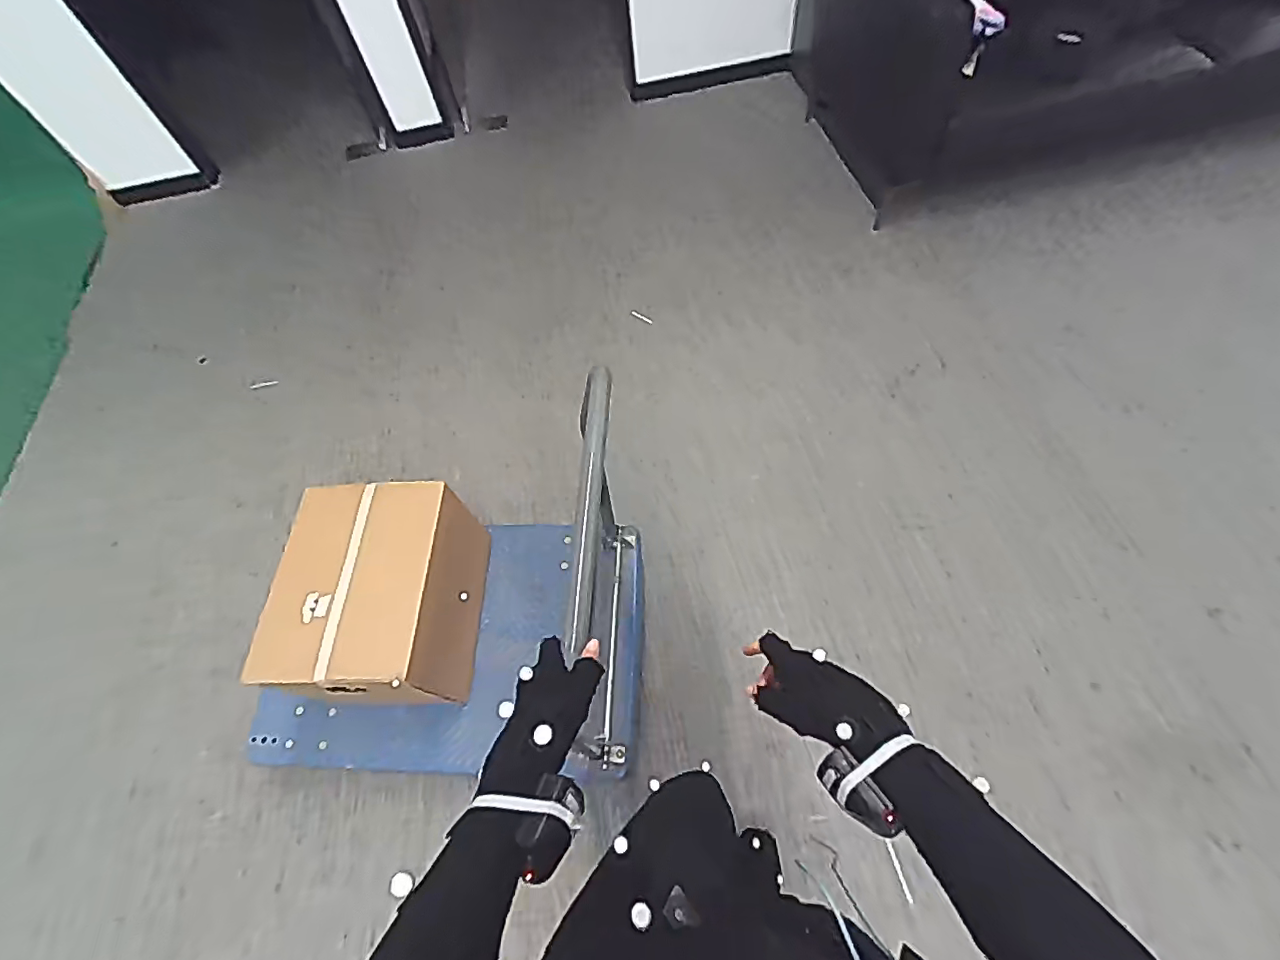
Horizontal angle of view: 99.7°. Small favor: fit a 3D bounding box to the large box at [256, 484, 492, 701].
[{"bbox_3d":[-0.544,0.259,1.200,0.320,0.320,0.408,-3,61,5],"label":"large box"}]
